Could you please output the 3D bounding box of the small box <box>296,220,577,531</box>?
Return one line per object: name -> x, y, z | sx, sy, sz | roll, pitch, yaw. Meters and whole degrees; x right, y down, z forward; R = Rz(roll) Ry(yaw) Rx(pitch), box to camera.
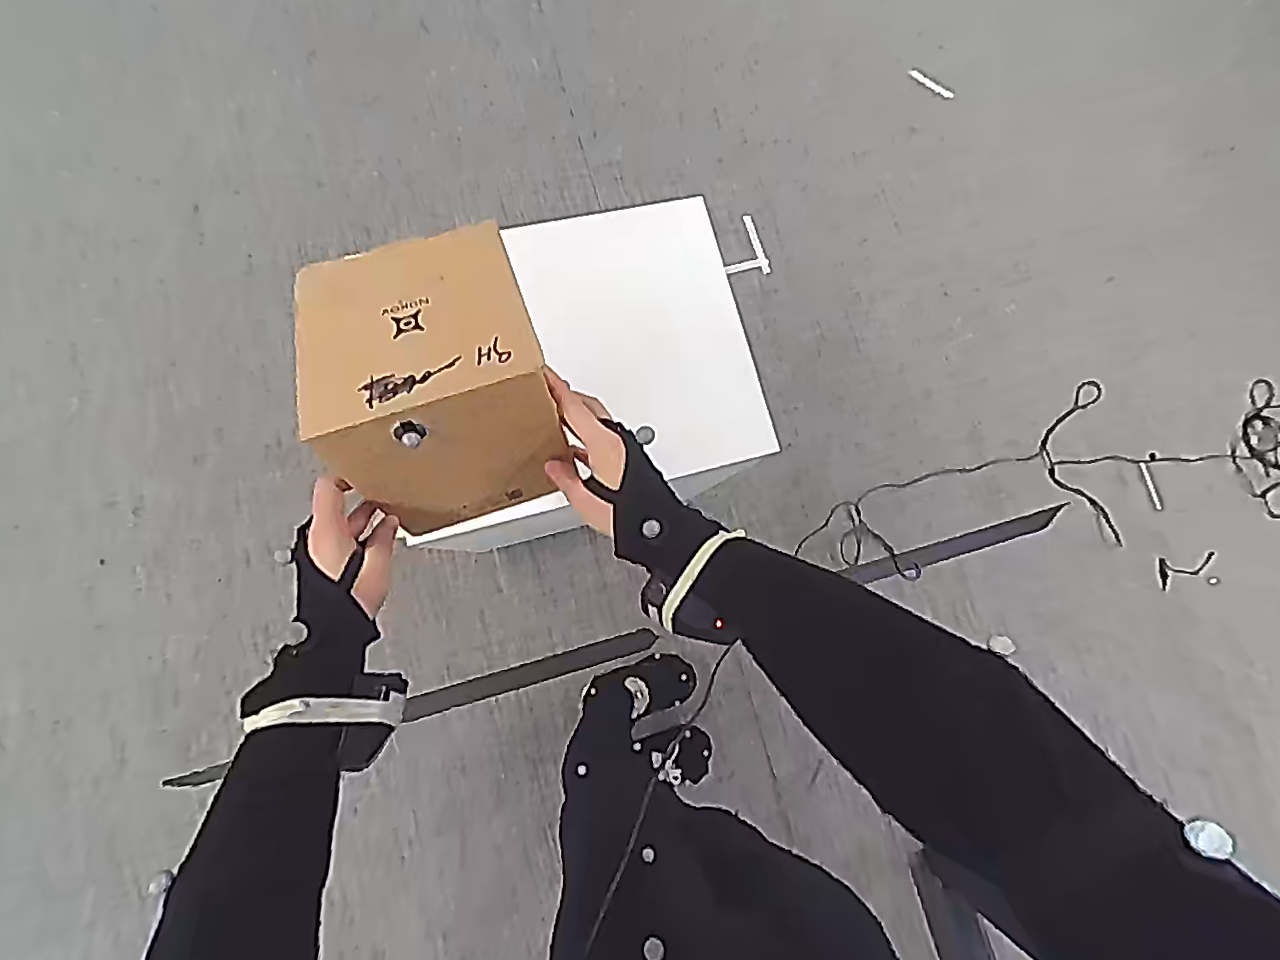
small box -> -0.163, -0.083, 0.467 | 0.168, 0.176, 0.179 | -18, 61, -5
